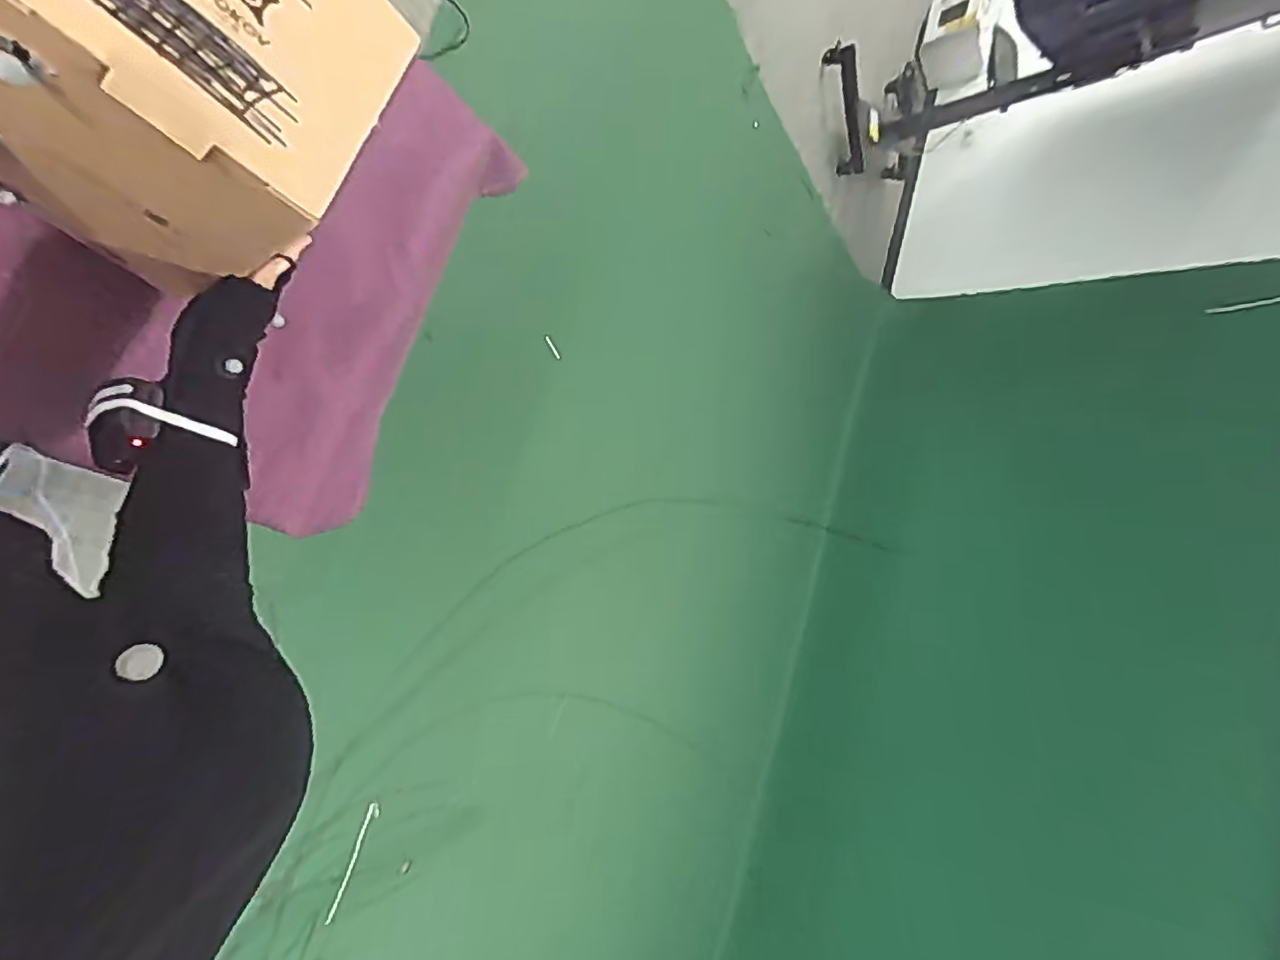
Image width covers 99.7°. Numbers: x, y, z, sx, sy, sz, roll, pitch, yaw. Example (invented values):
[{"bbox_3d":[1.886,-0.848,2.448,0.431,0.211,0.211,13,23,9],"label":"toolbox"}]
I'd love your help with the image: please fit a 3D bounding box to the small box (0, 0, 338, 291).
[{"bbox_3d":[-0.413,-0.294,0.472,0.168,0.176,0.179,39,63,-44],"label":"small box"}]
